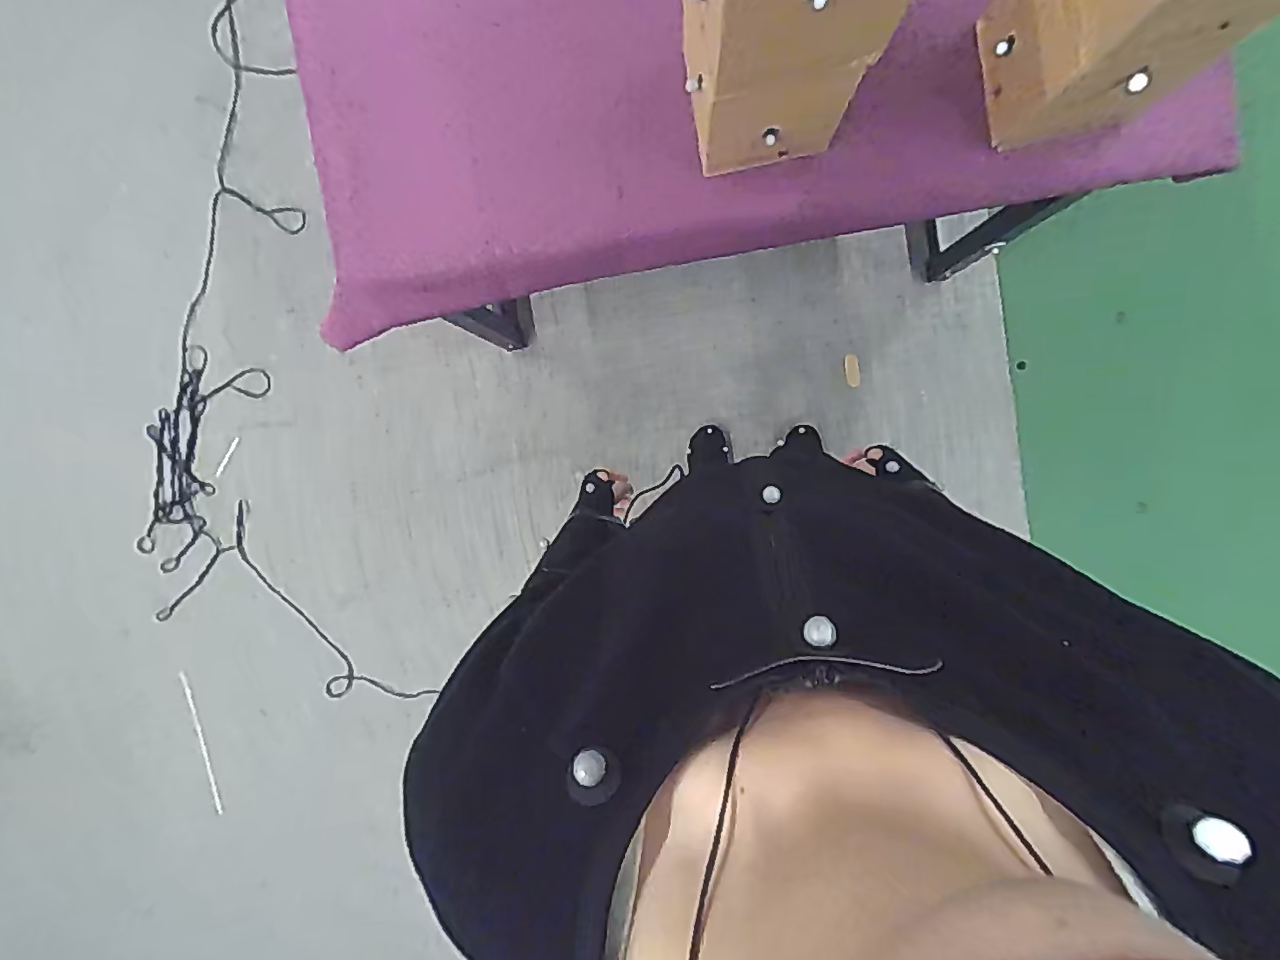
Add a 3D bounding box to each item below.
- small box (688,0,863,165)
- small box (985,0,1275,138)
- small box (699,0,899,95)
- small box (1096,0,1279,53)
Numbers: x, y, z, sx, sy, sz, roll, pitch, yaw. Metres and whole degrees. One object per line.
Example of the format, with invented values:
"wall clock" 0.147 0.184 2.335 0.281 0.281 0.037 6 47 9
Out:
"small box" 0.151 -0.507 0.645 0.168 0.176 0.179 -9 93 6
"small box" 0.528 -0.525 0.605 0.179 0.176 0.168 -11 95 8
"small box" 0.139 -0.490 0.484 0.179 0.176 0.168 -10 94 7
"small box" 0.512 -0.512 0.442 0.168 0.176 0.179 -10 94 9
